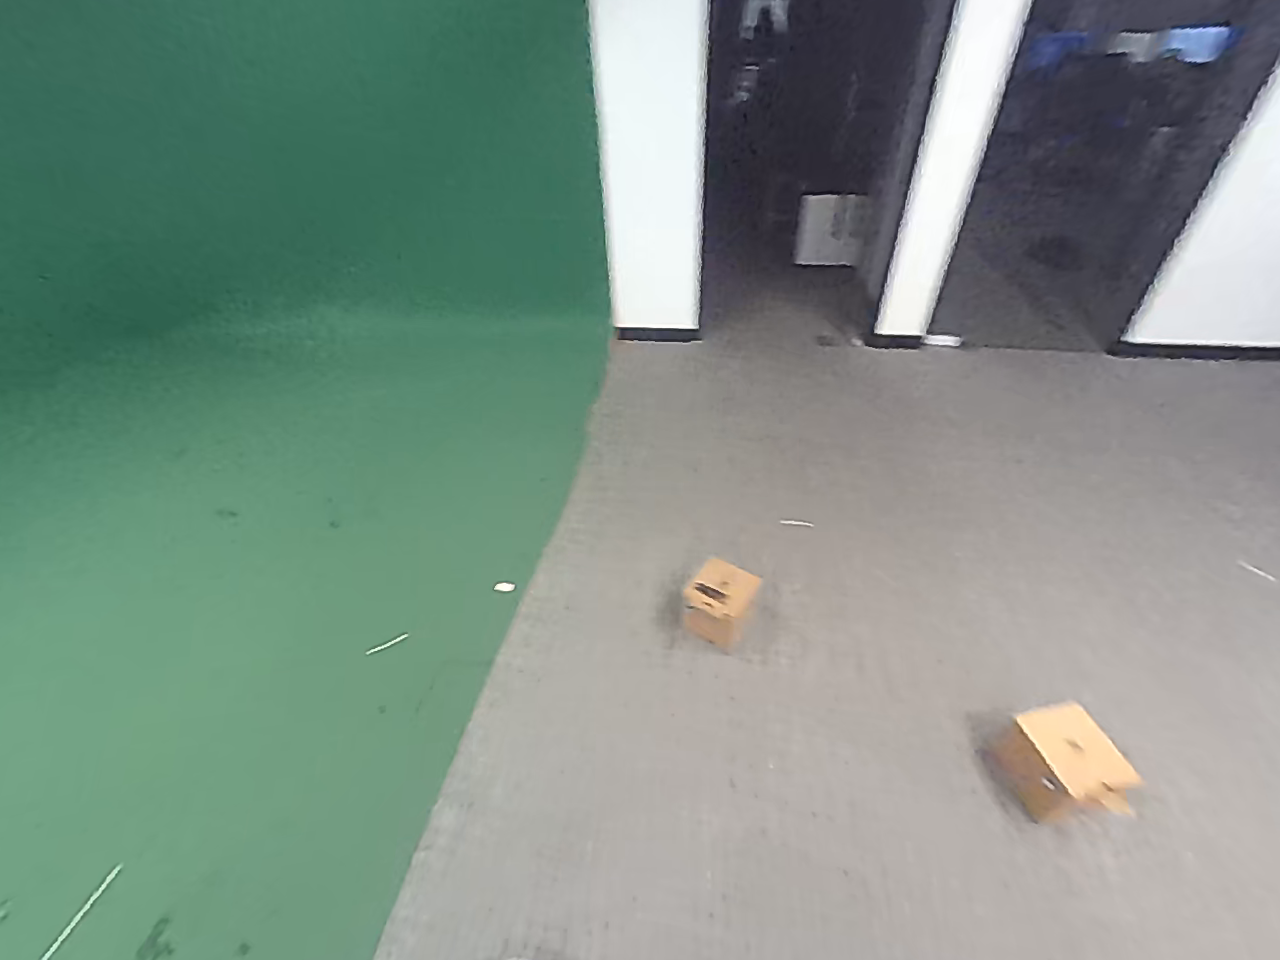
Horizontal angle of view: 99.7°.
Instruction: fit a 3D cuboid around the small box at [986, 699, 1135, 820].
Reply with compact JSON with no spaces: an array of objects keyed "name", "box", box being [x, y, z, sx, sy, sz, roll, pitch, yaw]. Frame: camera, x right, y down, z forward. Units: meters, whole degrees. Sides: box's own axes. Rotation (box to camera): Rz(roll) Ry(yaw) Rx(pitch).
[{"name":"small box","box":[0.934,0.632,1.223,0.168,0.176,0.179,-9,41,-7]}]
